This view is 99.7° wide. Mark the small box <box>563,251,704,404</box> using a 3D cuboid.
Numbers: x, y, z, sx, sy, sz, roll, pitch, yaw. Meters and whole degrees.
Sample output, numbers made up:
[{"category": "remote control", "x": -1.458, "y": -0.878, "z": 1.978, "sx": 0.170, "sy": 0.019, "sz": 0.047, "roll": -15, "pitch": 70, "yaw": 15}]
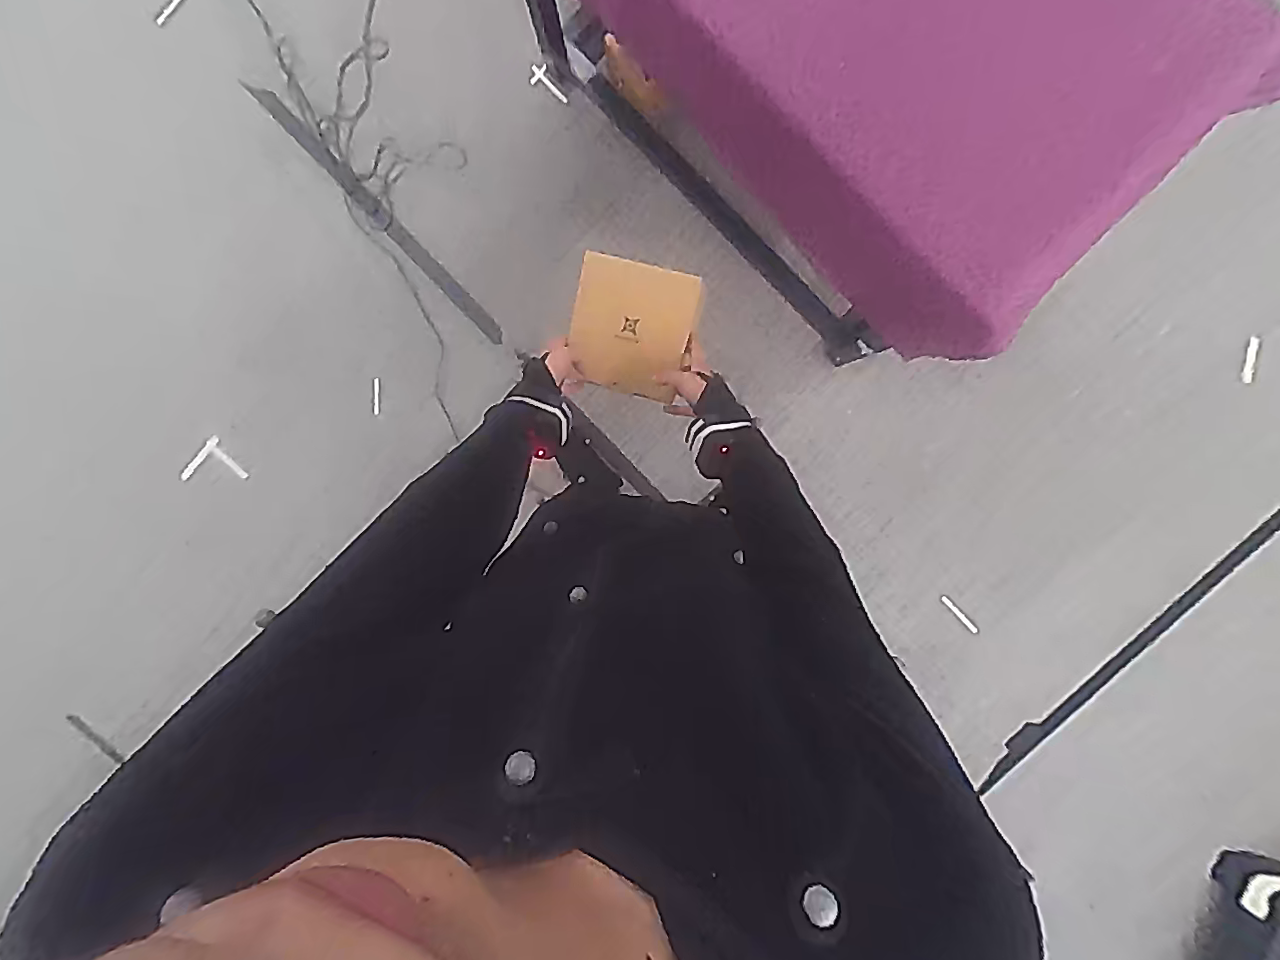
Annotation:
[{"category": "small box", "x": -0.003, "y": -0.228, "z": 0.827, "sx": 0.168, "sy": 0.176, "sz": 0.179, "roll": 15, "pitch": 106, "yaw": 5}]
